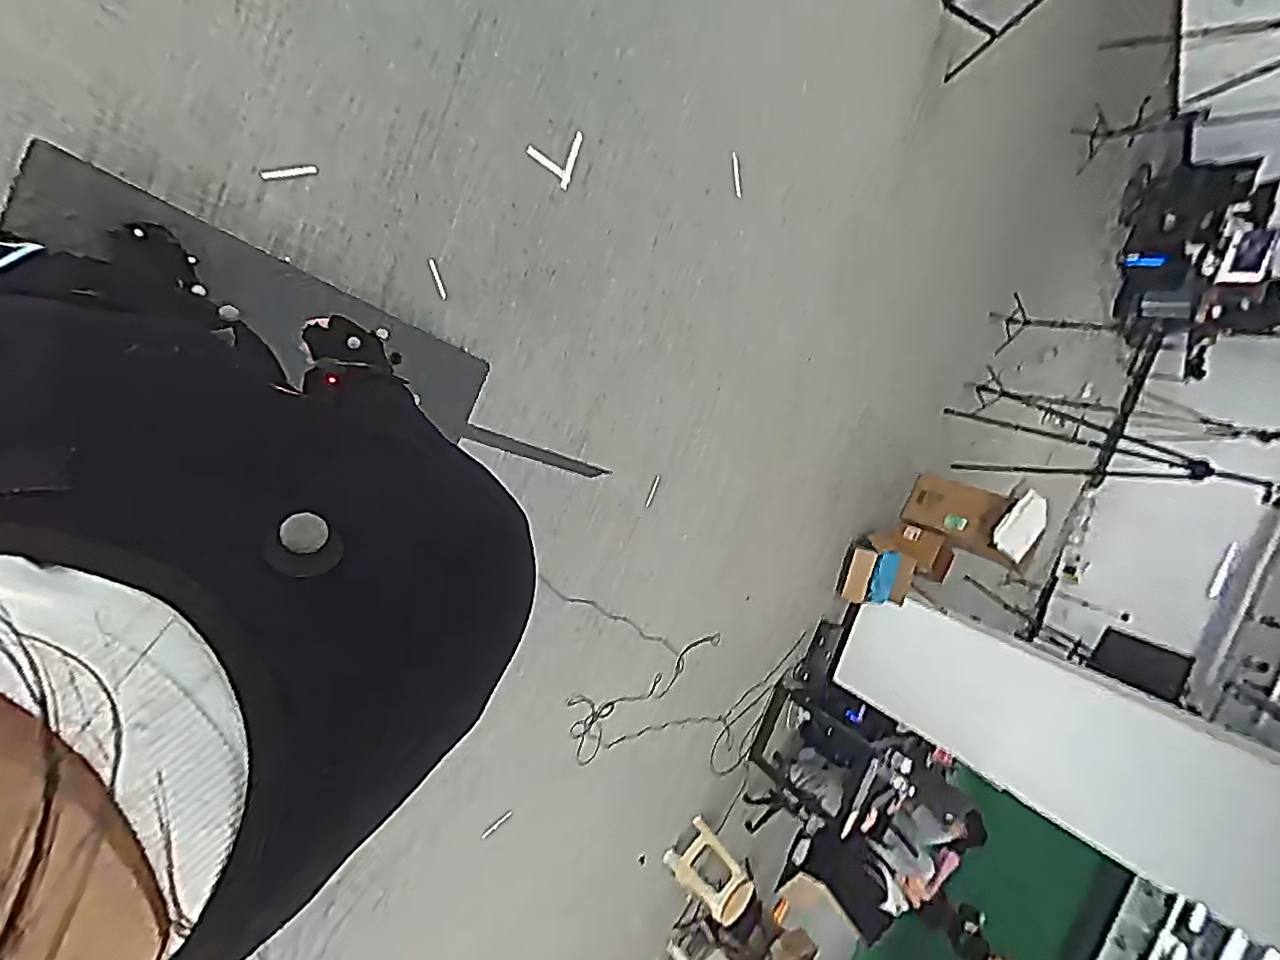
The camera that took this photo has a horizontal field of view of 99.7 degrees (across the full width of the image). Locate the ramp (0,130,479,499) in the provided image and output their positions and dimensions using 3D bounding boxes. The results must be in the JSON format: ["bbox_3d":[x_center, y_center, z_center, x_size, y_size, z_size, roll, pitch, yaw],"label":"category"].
[{"bbox_3d":[-0.853,-0.259,1.296,0.991,0.206,0.509,19,93,-46],"label":"ramp"}]
